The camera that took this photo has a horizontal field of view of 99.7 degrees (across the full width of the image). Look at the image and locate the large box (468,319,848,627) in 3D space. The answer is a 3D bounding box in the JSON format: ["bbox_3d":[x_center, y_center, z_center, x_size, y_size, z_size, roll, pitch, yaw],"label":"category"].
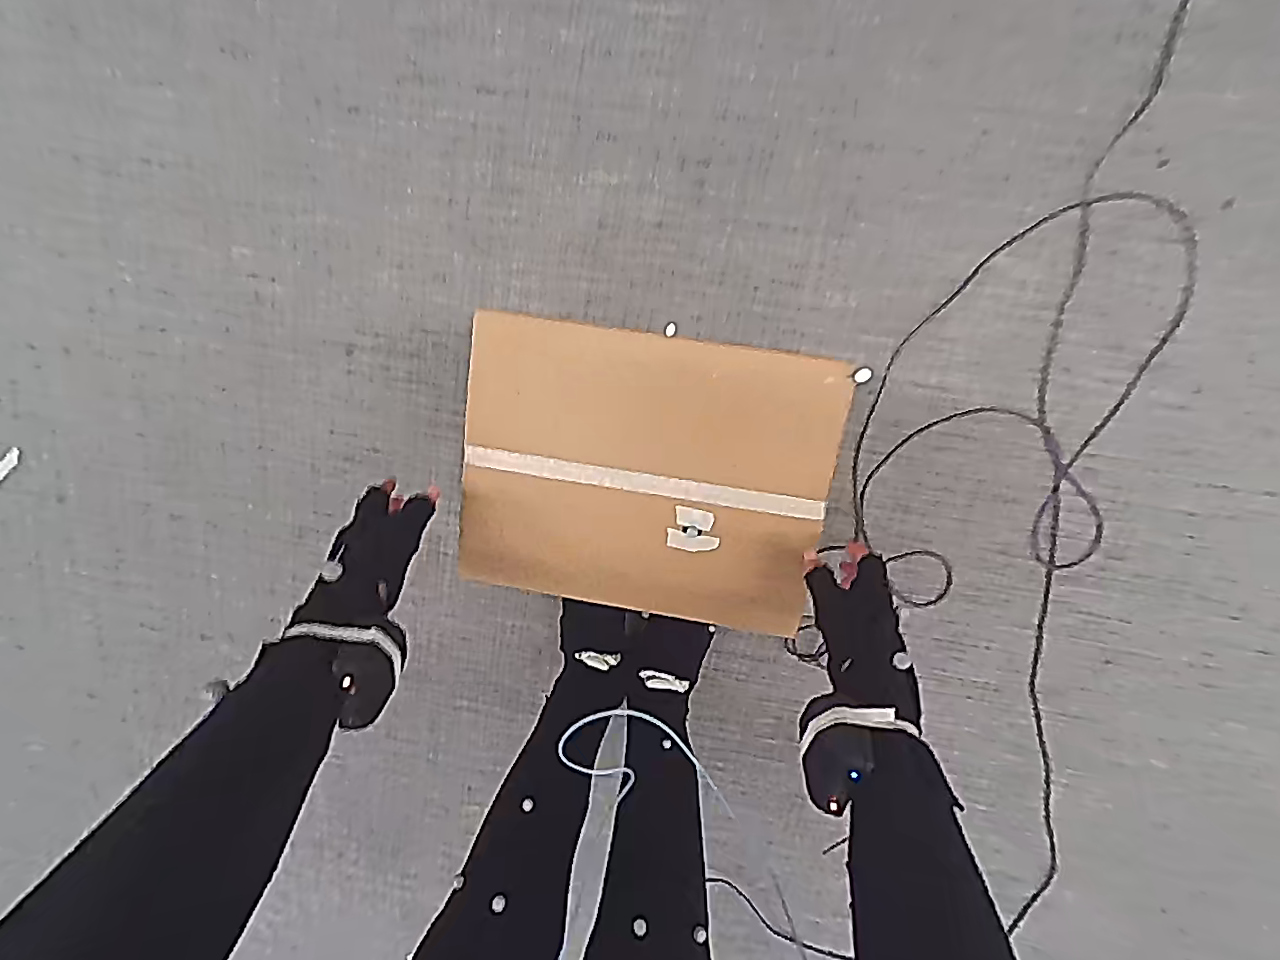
[{"bbox_3d":[0.016,-0.032,0.754,0.408,0.320,0.320,9,104,4],"label":"large box"}]
